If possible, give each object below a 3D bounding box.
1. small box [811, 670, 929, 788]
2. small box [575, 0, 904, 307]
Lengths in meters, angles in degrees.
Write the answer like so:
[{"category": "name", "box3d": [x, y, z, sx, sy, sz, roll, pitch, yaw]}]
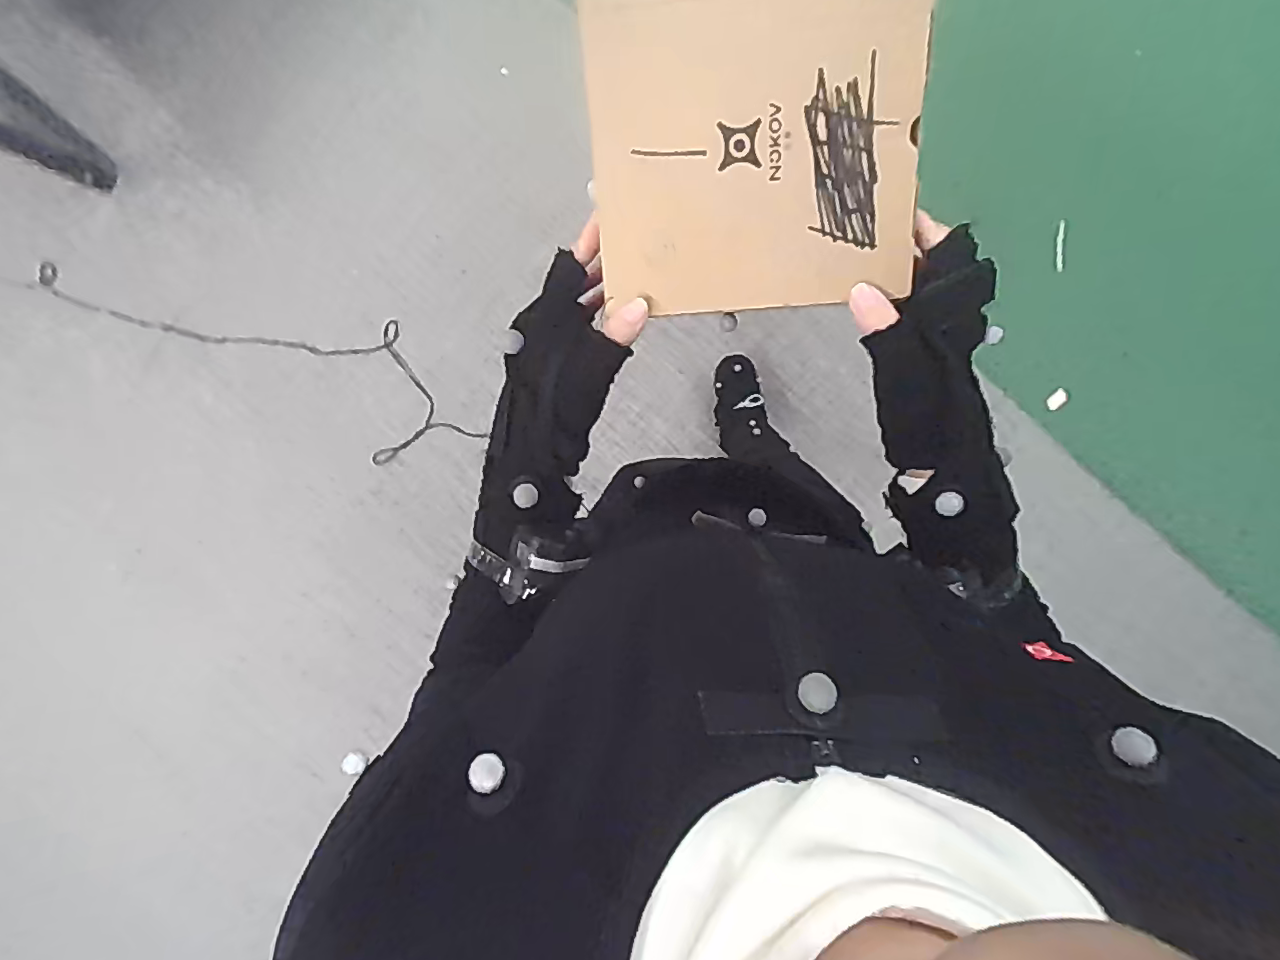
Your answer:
[{"category": "small box", "box3d": [0.547, 0.592, 1.318, 0.179, 0.176, 0.168, 38, 96, -1]}, {"category": "small box", "box3d": [0.059, -0.216, 0.383, 0.179, 0.176, 0.168, -3, 108, 4]}]
